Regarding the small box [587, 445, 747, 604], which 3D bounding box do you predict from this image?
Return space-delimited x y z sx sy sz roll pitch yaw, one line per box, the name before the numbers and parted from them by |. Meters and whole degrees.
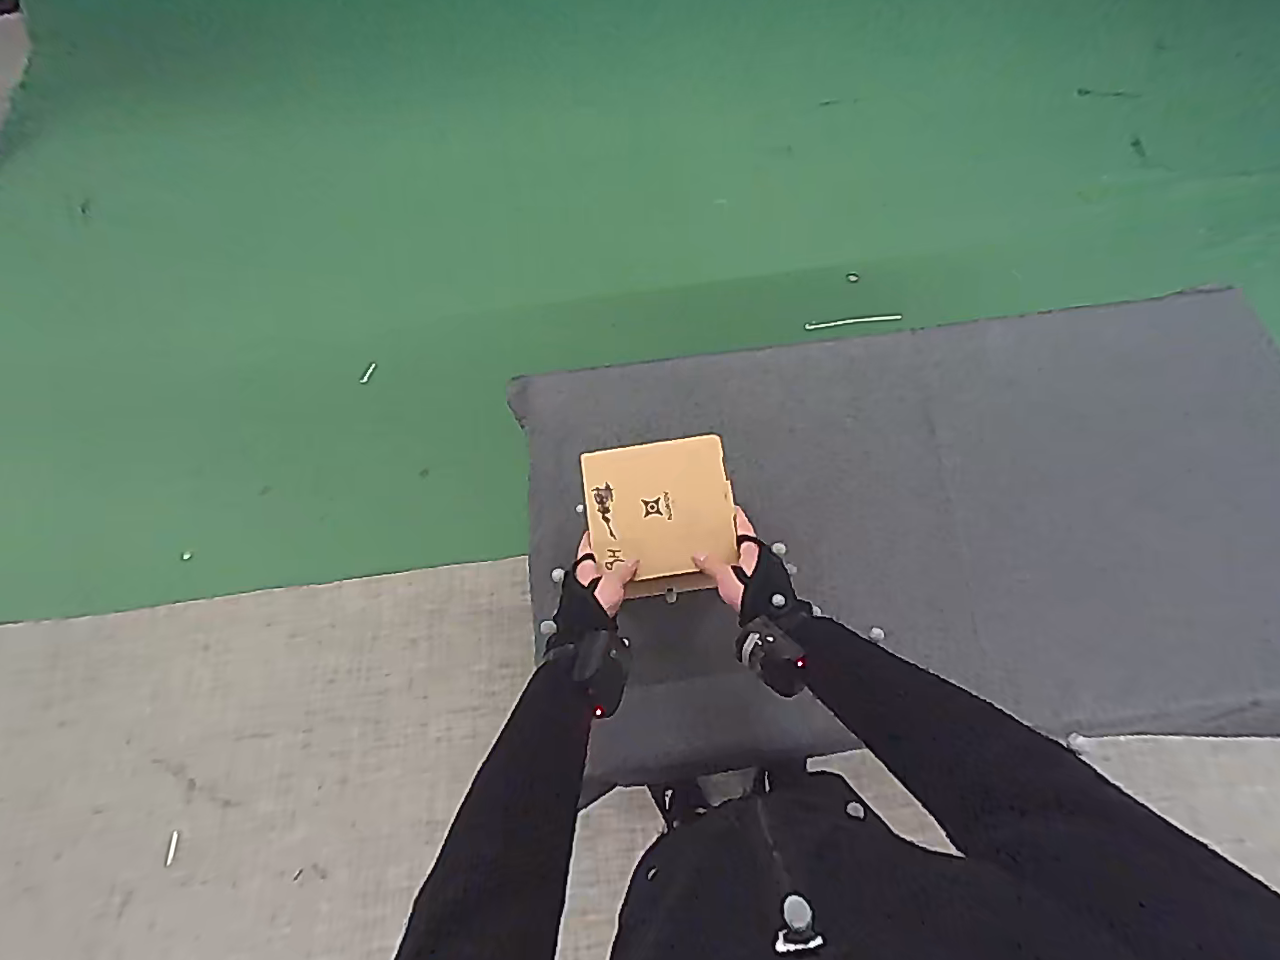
small box | 0.031 0.067 0.720 0.179 0.176 0.168 -8 71 -1
